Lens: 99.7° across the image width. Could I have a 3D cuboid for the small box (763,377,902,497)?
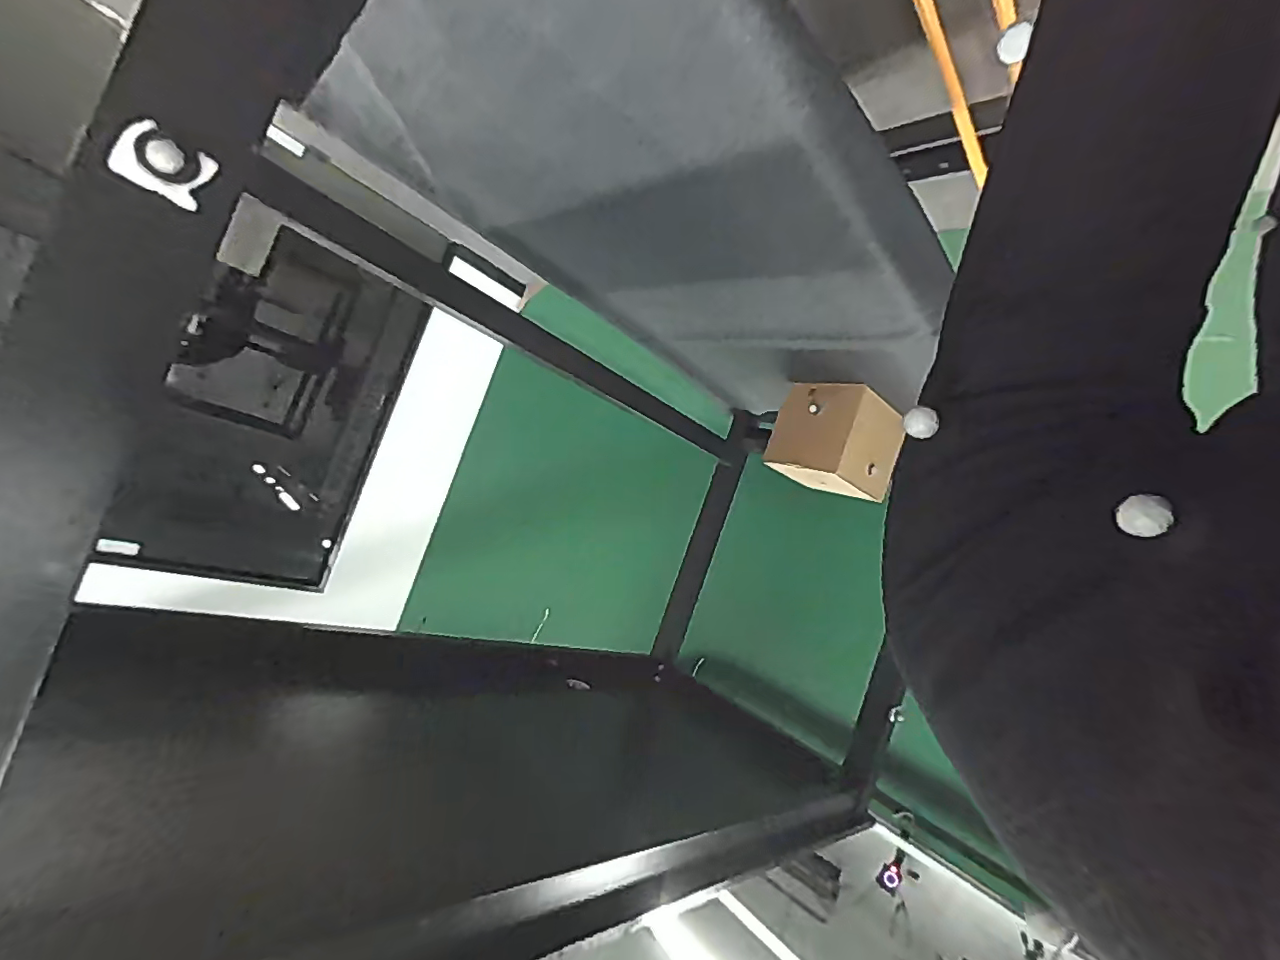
[{"bbox_3d":[0.375,-0.085,1.044,0.179,0.176,0.168,23,175,-37],"label":"small box"}]
